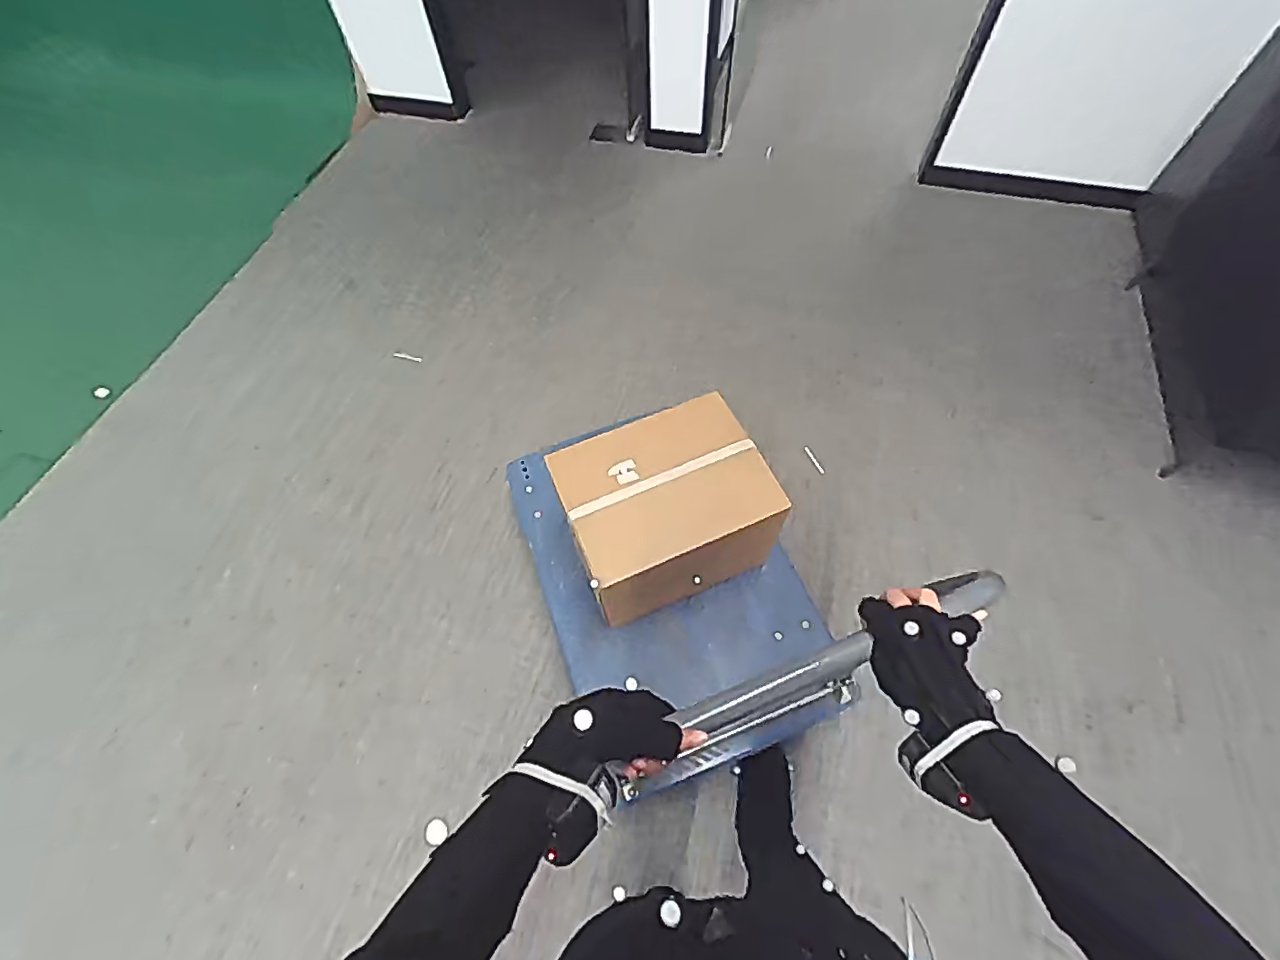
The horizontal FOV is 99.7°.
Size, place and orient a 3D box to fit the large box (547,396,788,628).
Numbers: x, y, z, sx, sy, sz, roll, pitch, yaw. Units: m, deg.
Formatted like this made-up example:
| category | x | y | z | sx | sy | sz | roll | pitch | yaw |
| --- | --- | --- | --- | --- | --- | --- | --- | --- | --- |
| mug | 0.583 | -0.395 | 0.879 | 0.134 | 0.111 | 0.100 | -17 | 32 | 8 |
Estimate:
| category | x | y | z | sx | sy | sz | roll | pitch | yaw |
| --- | --- | --- | --- | --- | --- | --- | --- | --- | --- |
| large box | 0.055 | 0.080 | 1.211 | 0.408 | 0.320 | 0.320 | -23 | 62 | -10 |
